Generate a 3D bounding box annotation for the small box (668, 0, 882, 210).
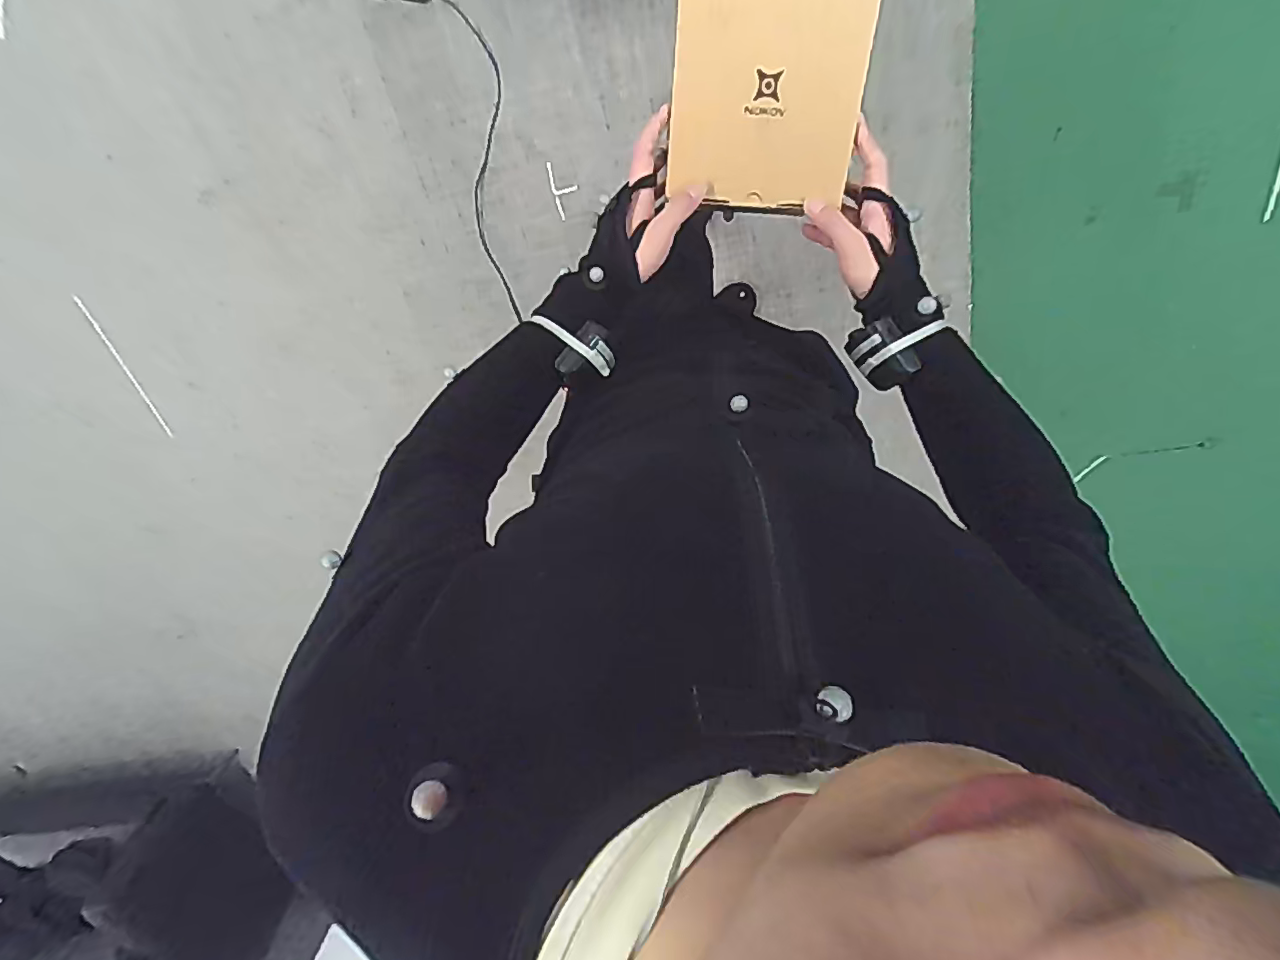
[{"bbox_3d":[0.115,-0.372,0.537,0.168,0.176,0.179,4,117,2],"label":"small box"}]
